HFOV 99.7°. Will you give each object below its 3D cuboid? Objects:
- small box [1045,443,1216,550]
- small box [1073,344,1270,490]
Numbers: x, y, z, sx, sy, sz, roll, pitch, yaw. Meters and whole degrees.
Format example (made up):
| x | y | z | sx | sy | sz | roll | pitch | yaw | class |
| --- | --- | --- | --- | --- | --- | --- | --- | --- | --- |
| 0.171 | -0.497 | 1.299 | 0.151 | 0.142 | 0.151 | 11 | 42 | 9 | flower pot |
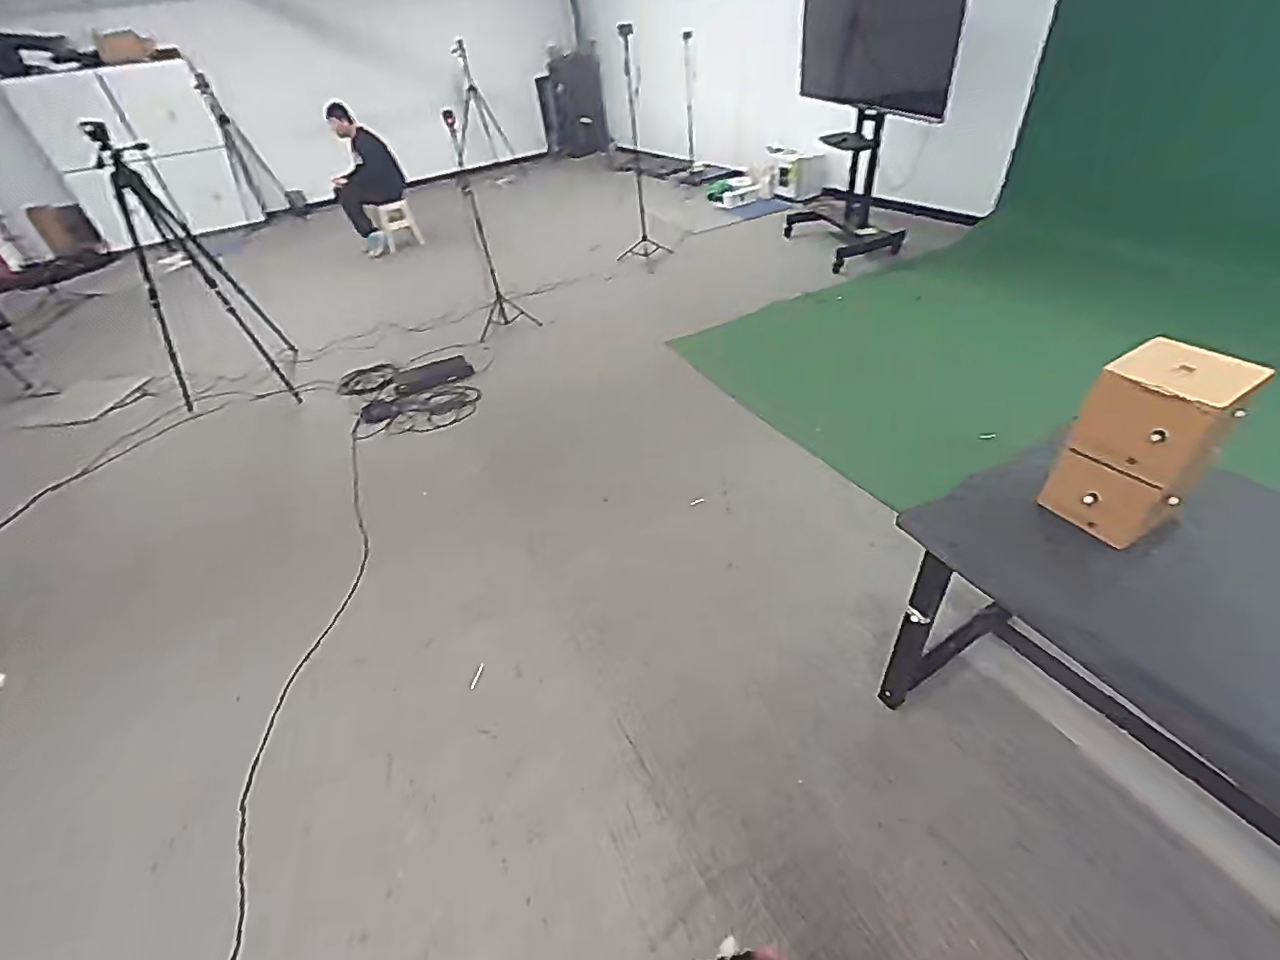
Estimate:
| x | y | z | sx | sy | sz | roll | pitch | yaw | class |
| --- | --- | --- | --- | --- | --- | --- | --- | --- | --- |
| 0.942 | 0.008 | 1.061 | 0.179 | 0.176 | 0.168 | -23 | 43 | -17 | small box |
| 0.913 | -0.110 | 0.951 | 0.179 | 0.176 | 0.168 | -24 | 43 | -20 | small box |
